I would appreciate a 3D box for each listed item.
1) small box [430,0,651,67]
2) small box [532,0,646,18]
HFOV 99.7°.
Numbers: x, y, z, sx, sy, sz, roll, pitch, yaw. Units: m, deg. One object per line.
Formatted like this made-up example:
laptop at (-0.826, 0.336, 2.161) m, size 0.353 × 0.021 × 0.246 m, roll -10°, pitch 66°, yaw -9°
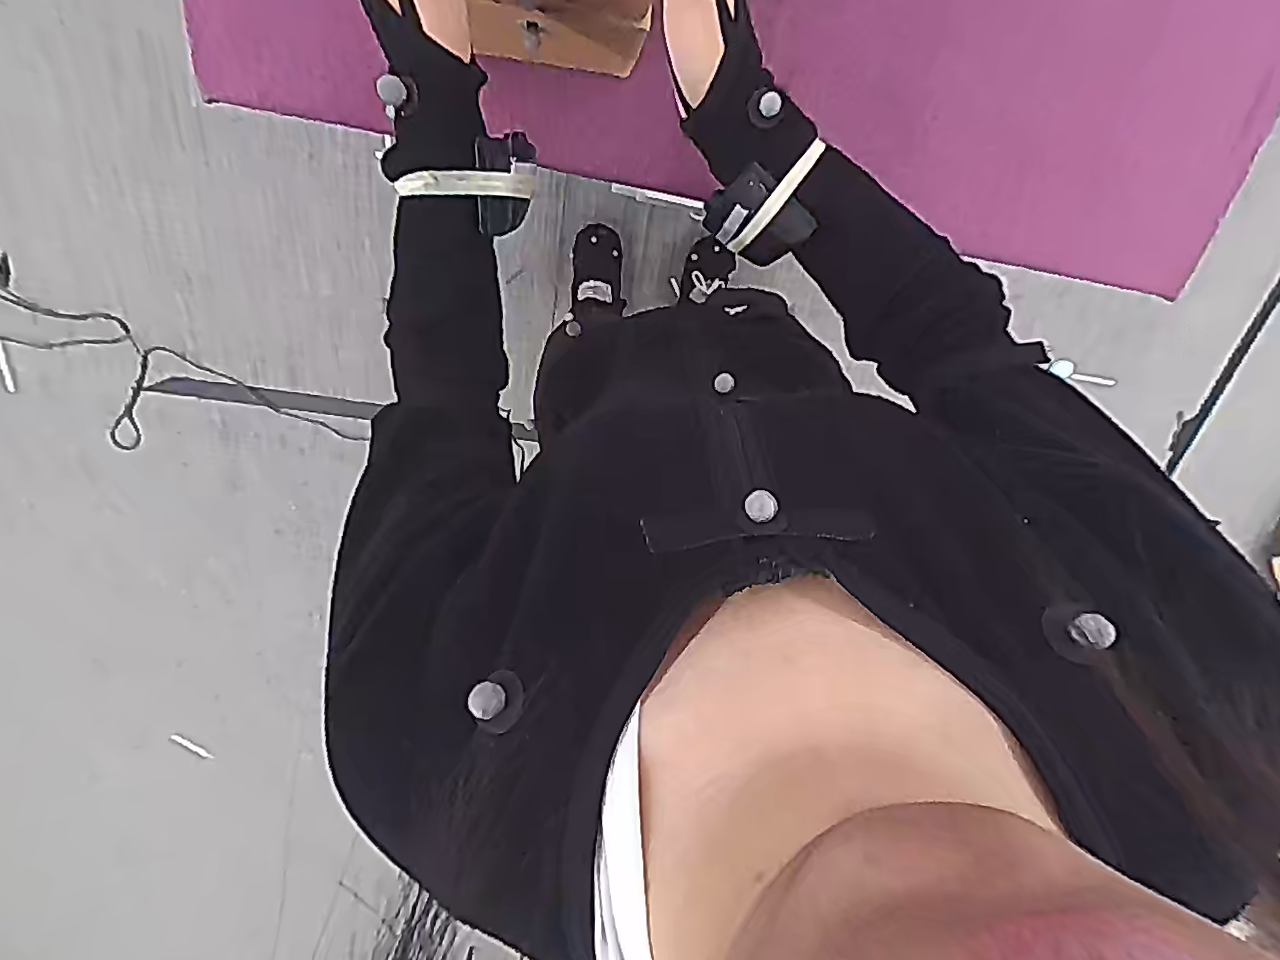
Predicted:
small box at (-0.079, -0.474, 0.456) m, size 0.179 × 0.176 × 0.168 m, roll 3°, pitch 116°, yaw -8°
small box at (-0.060, -0.409, 0.306) m, size 0.168 × 0.176 × 0.179 m, roll 3°, pitch 117°, yaw -8°
